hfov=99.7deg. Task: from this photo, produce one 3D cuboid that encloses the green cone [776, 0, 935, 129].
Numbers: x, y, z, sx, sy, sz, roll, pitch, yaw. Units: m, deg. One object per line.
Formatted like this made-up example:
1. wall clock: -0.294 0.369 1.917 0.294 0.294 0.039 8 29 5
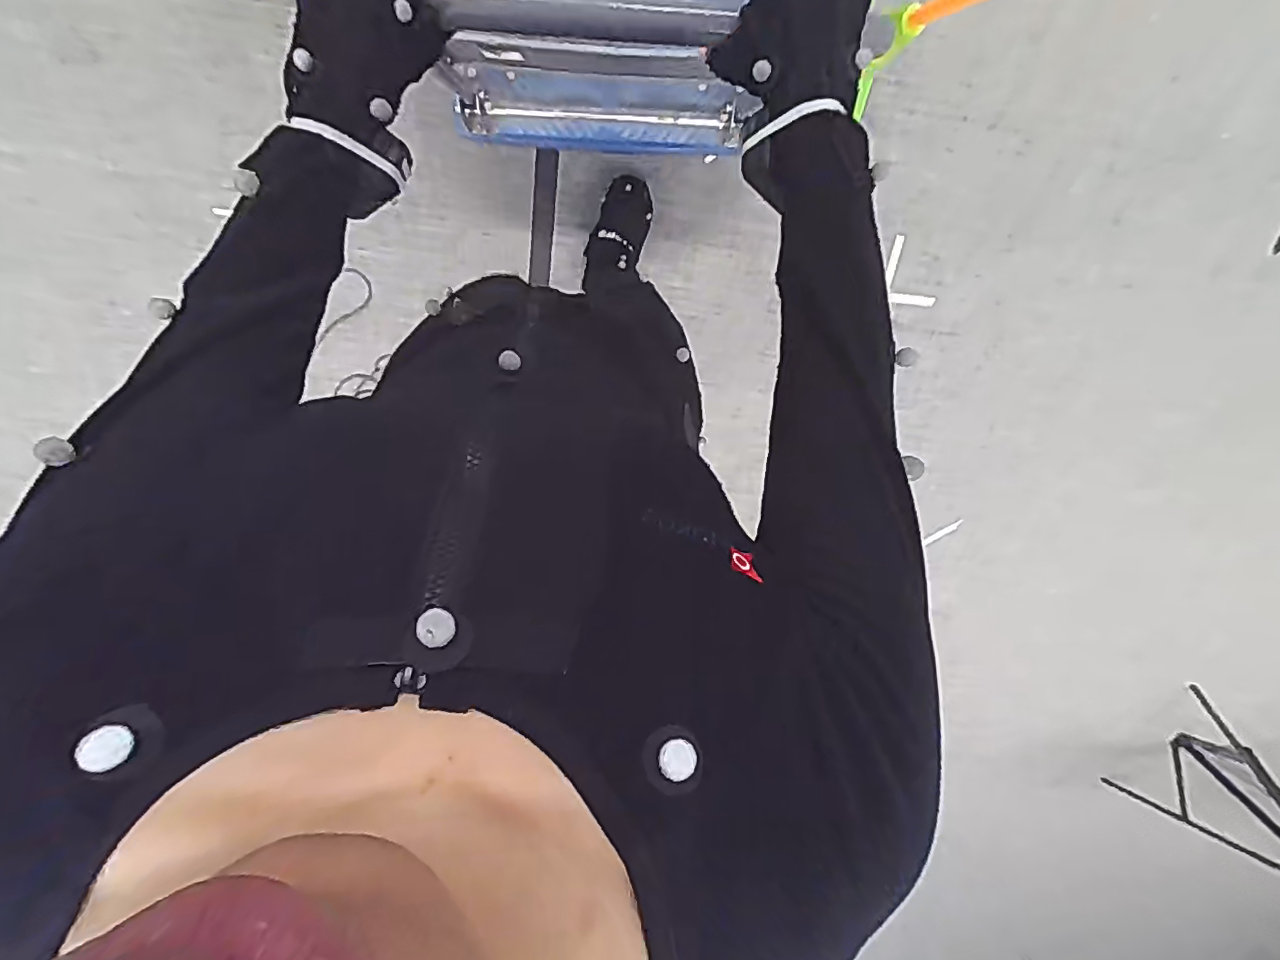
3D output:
1. green cone: 0.416 -0.794 0.987 0.202 0.368 0.200 9 117 -10
